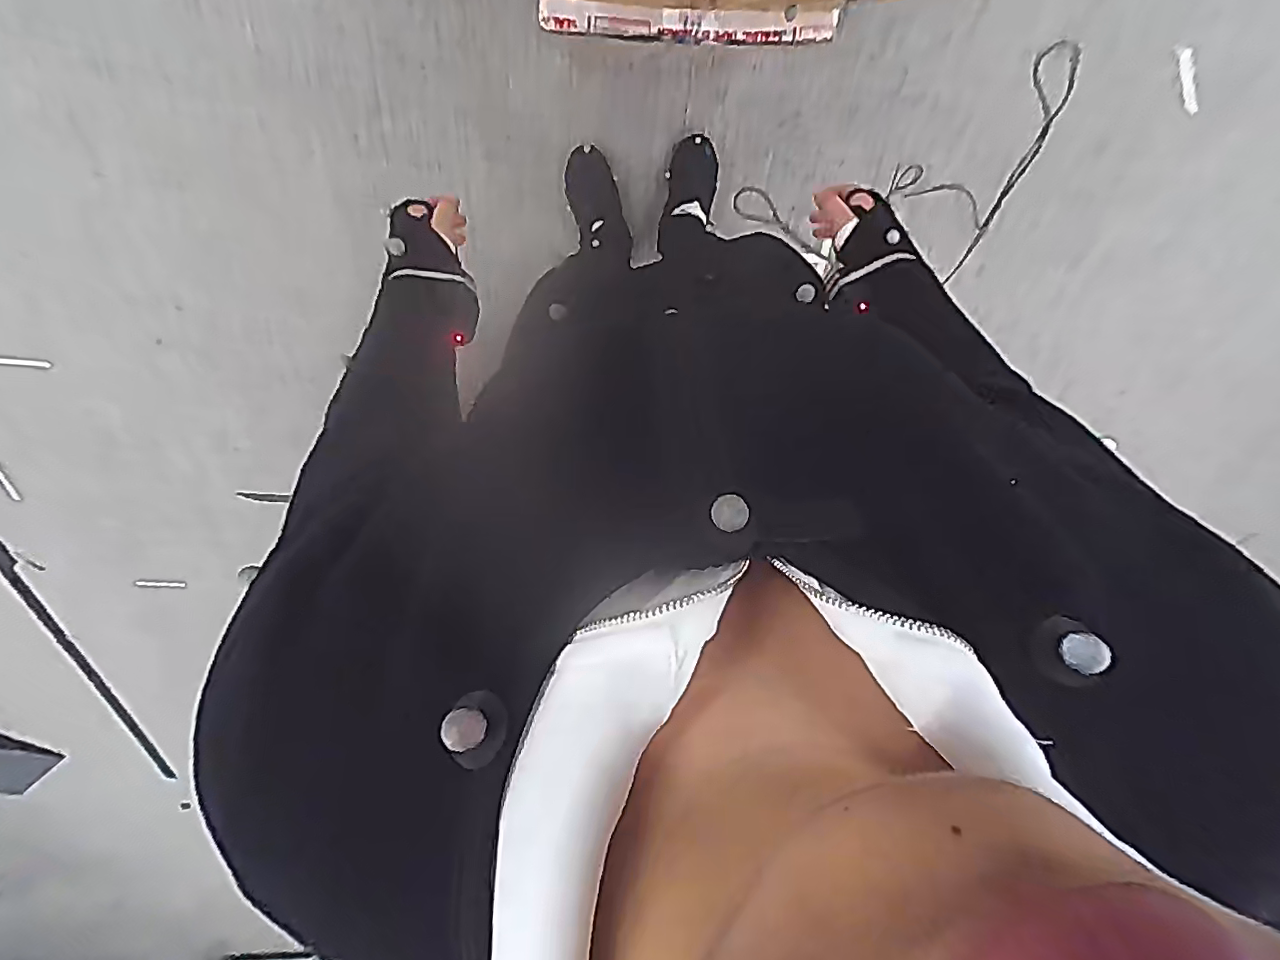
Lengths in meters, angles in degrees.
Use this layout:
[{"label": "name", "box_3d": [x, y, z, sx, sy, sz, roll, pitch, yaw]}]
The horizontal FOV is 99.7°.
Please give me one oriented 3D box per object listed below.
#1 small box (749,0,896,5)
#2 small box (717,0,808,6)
[{"label": "small box", "box_3d": [0.193, -0.521, 0.462, 0.179, 0.176, 0.168, -4, 130, -2]}, {"label": "small box", "box_3d": [0.184, -0.630, 0.588, 0.179, 0.176, 0.168, -3, 130, -1]}]
